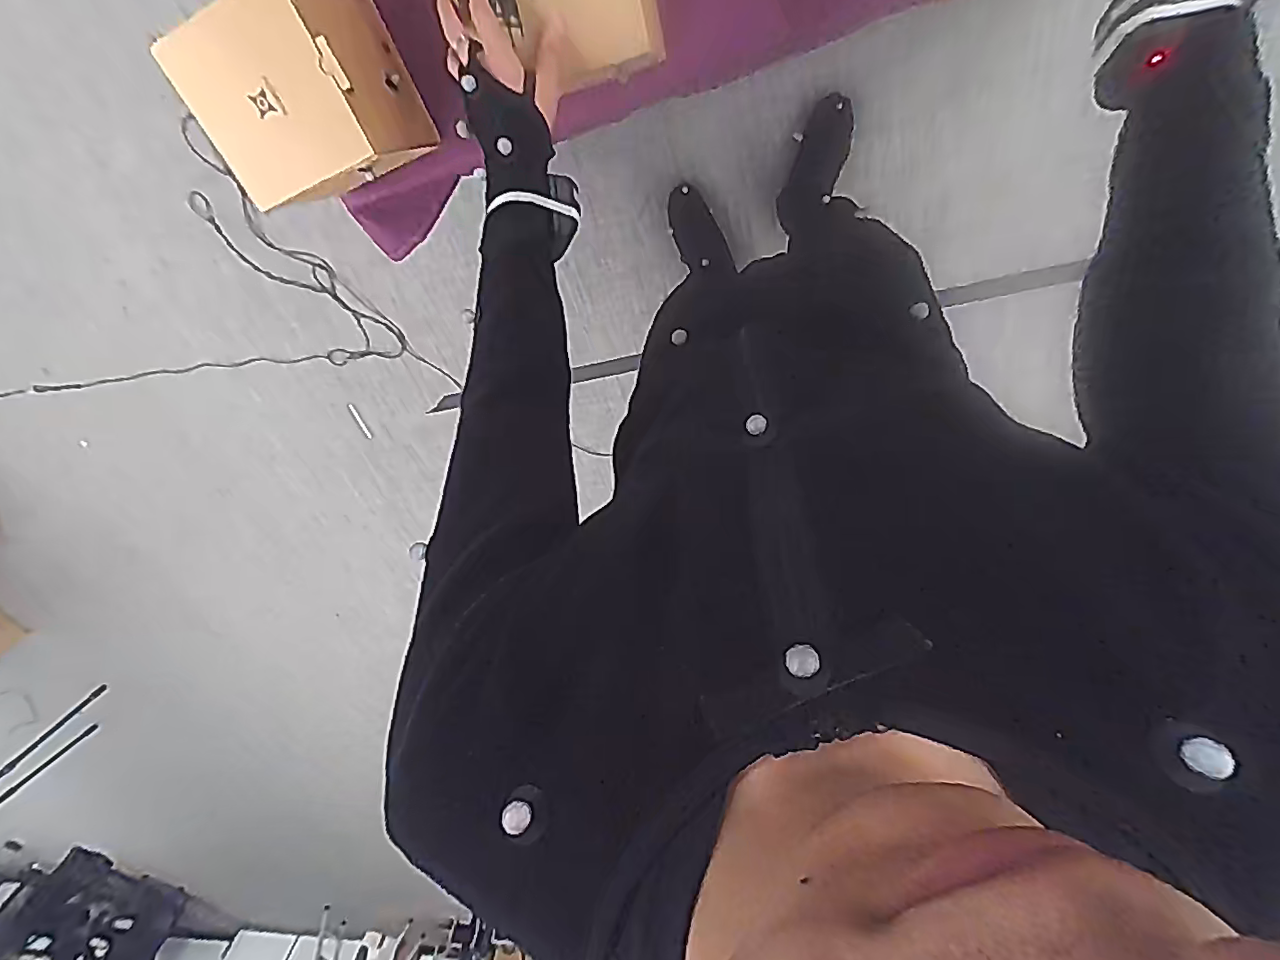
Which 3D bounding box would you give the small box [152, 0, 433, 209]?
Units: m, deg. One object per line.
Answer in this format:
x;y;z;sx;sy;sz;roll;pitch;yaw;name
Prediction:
-0.380;-0.440;0.628;0.179;0.176;0.168;-14;122;17;small box
